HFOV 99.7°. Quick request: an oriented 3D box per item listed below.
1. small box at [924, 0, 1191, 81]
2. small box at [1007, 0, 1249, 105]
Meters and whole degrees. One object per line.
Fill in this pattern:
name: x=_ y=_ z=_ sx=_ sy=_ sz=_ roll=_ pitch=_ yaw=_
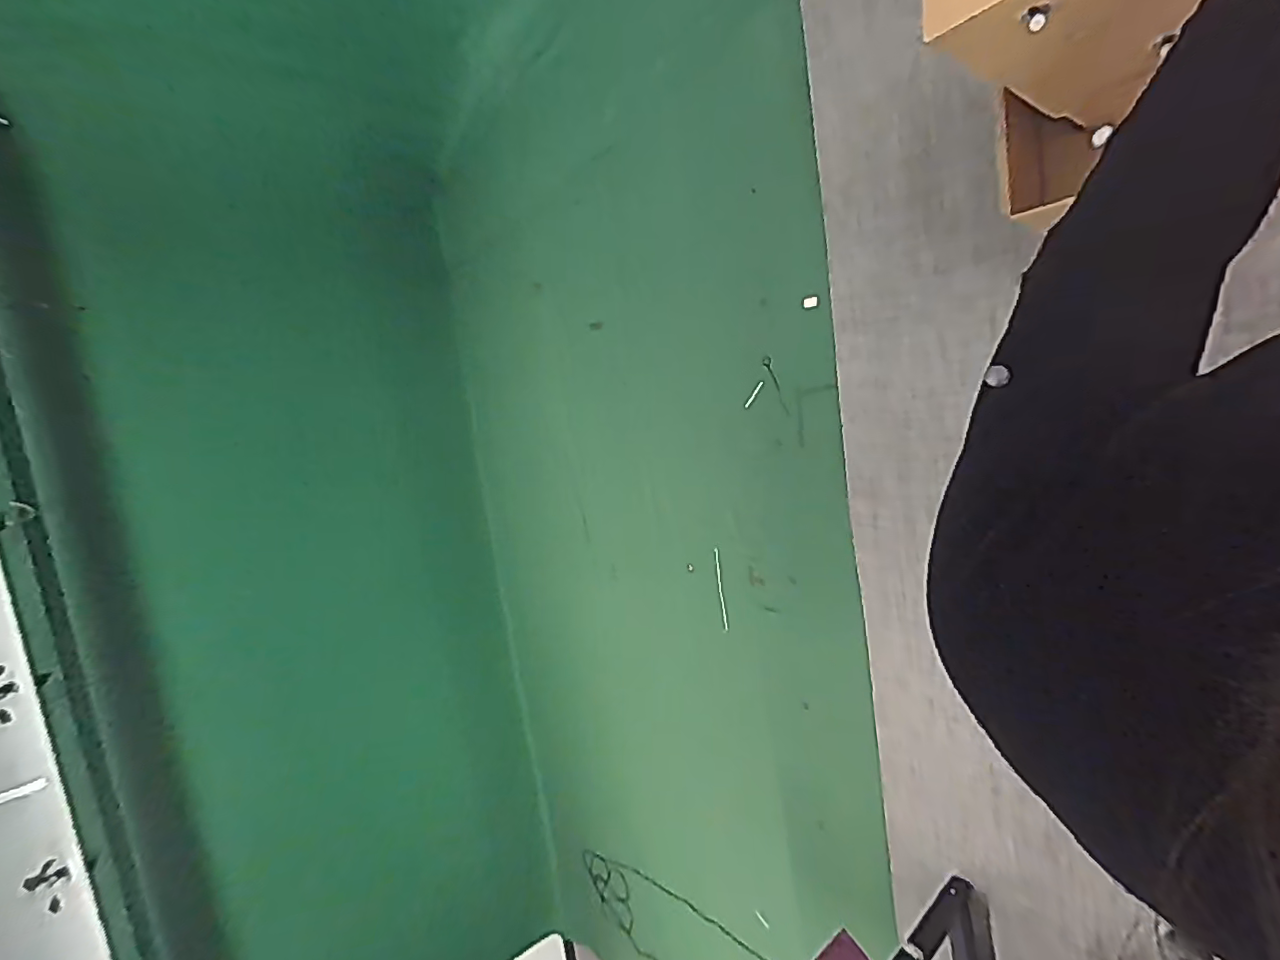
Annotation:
small box: x=0.377 y=-0.491 z=0.472 sx=0.179 sy=0.176 sz=0.168 roll=8 pitch=107 yaw=52
small box: x=0.507 y=-0.527 z=0.565 sx=0.168 sy=0.176 sz=0.179 roll=4 pitch=103 yaw=53
